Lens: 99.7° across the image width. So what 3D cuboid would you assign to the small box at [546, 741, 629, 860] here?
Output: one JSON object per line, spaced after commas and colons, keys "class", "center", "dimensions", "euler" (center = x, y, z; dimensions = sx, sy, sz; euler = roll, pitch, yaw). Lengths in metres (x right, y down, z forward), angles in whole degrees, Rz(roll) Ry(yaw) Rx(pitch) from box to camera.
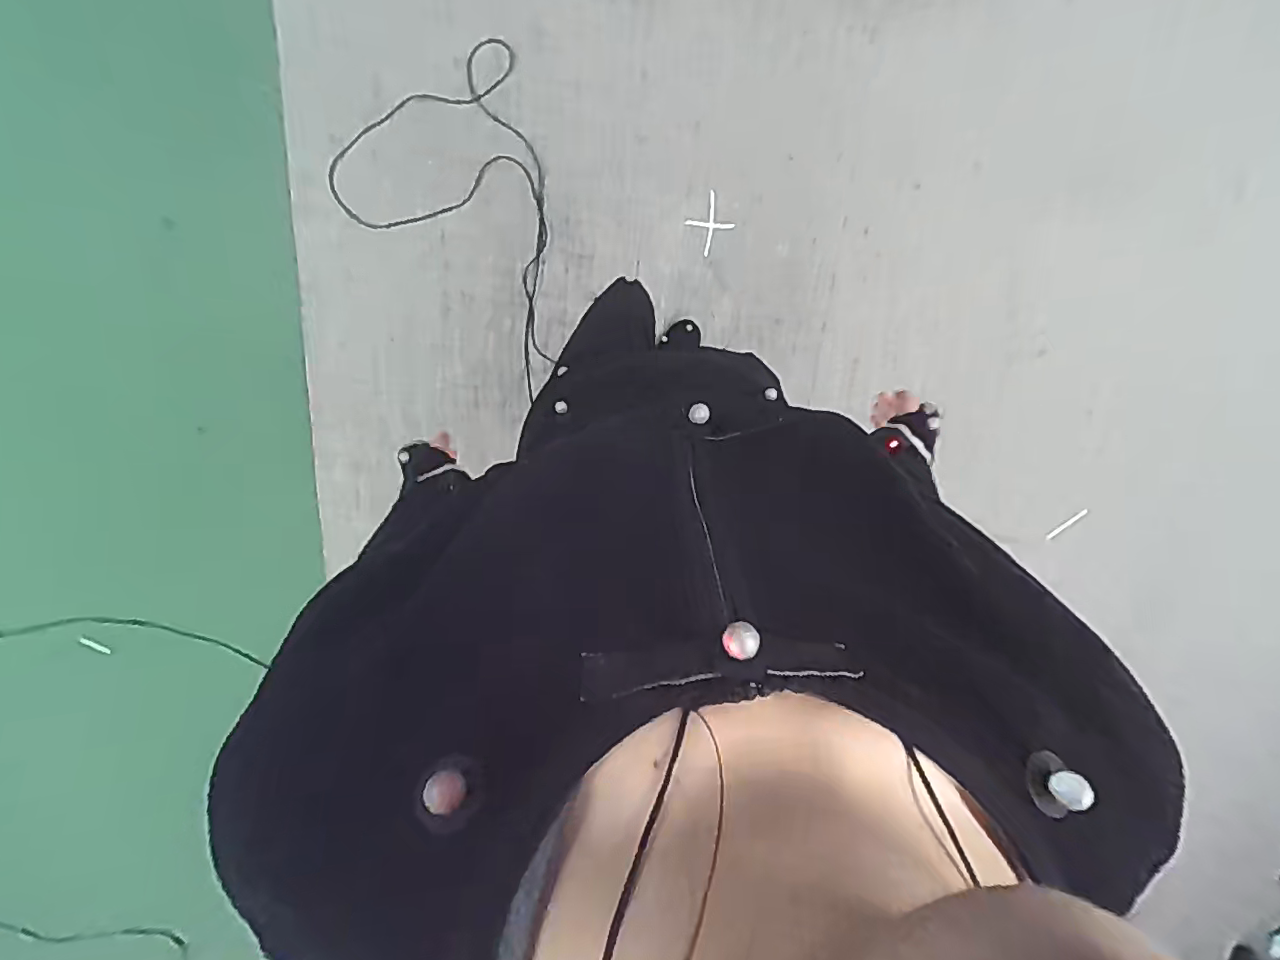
{"class": "small box", "center": [-0.117, 0.733, 1.250], "dimensions": [0.179, 0.176, 0.168], "euler": [-3, 104, -4]}
